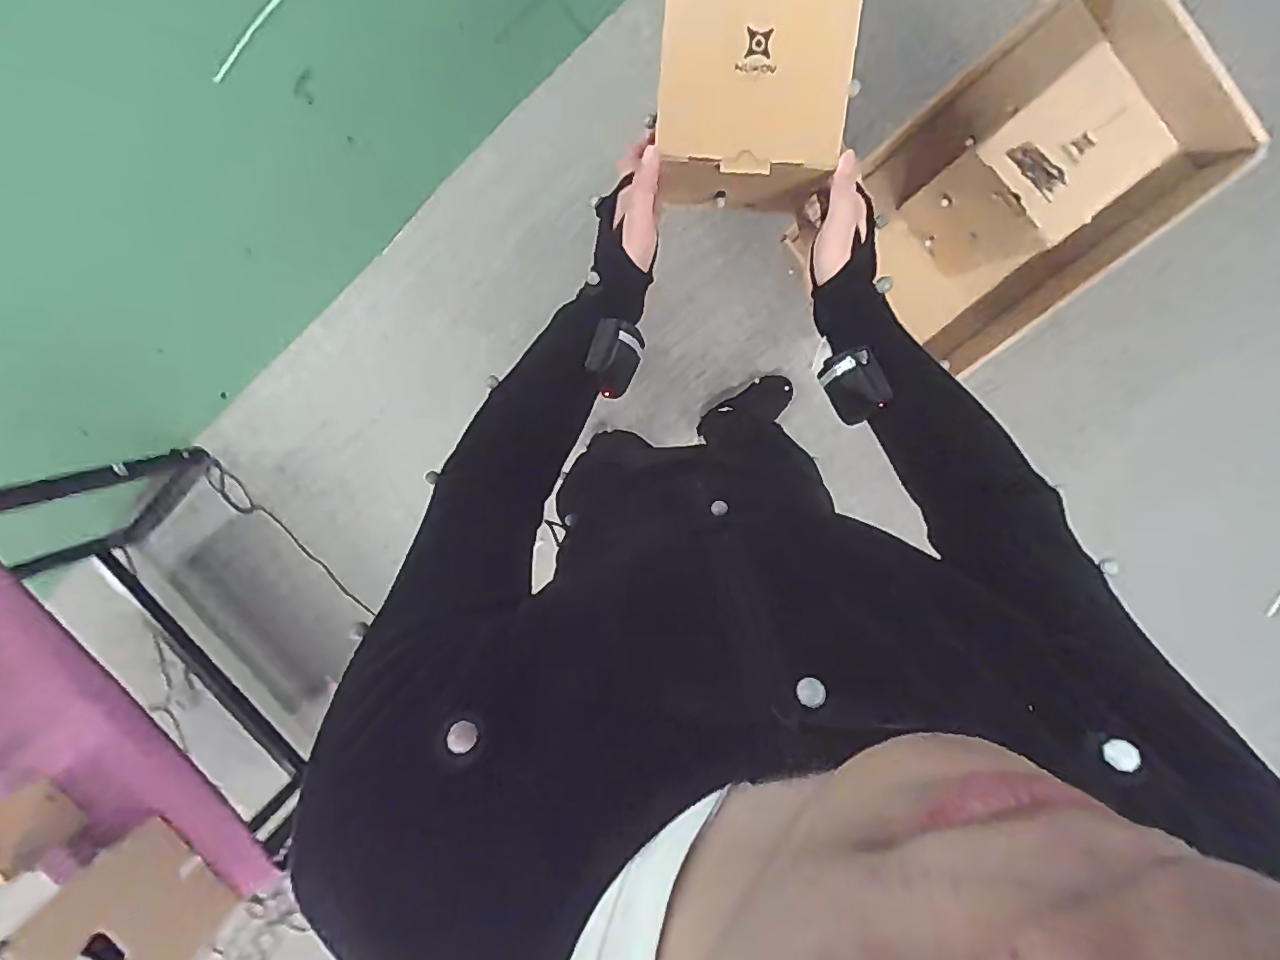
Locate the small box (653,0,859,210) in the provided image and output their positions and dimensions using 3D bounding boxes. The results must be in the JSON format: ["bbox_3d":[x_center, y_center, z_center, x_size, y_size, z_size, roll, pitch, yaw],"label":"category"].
[{"bbox_3d":[0.100,-0.383,0.532,0.168,0.176,0.179,3,106,3],"label":"small box"}]

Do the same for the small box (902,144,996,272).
[{"bbox_3d":[0.589,-0.484,0.922,0.179,0.176,0.168,-38,95,15],"label":"small box"}]

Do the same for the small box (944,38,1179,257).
[{"bbox_3d":[0.567,-0.446,0.764,0.179,0.176,0.168,-41,95,14],"label":"small box"}]
